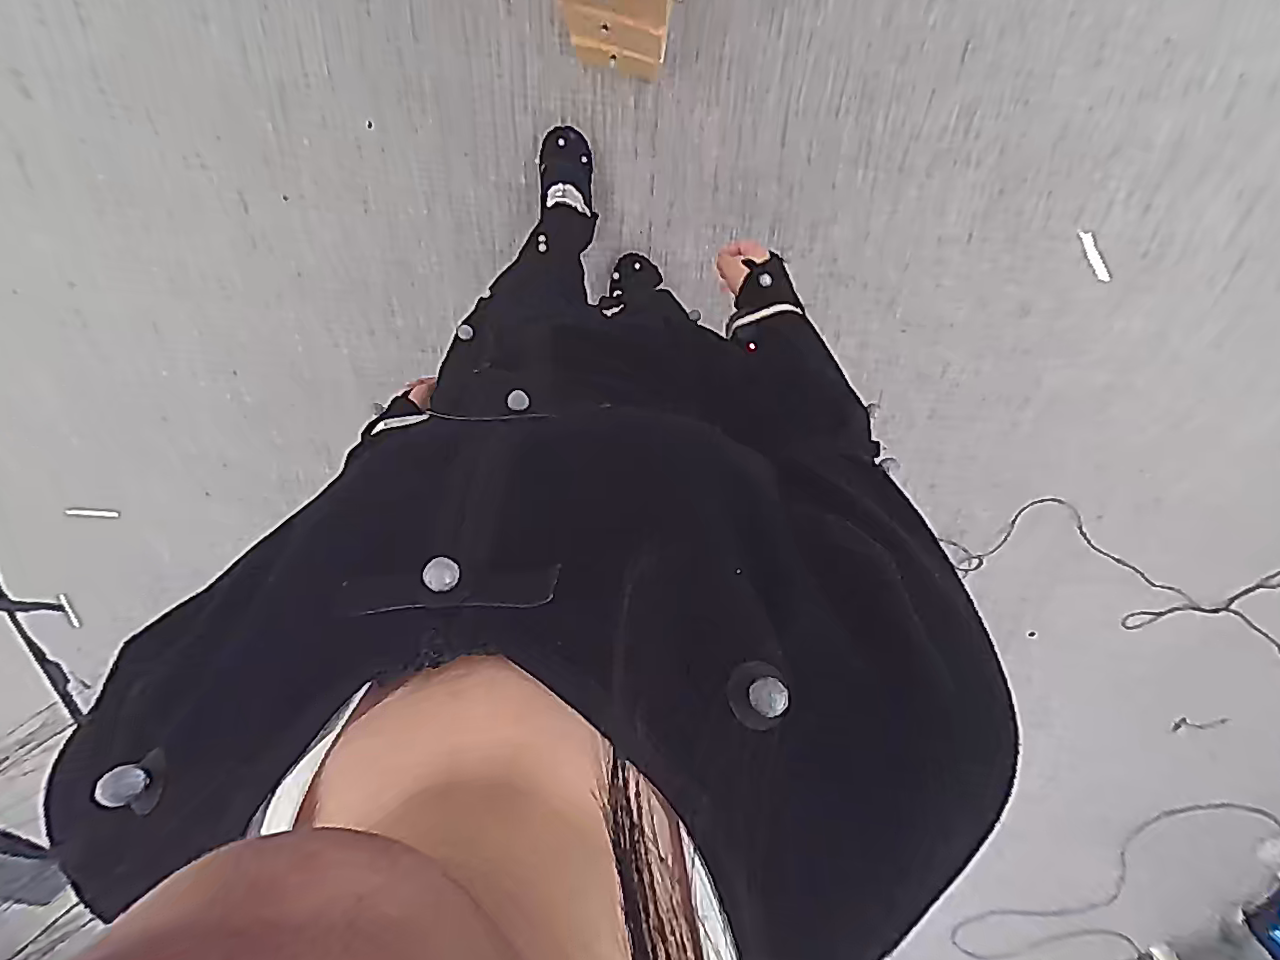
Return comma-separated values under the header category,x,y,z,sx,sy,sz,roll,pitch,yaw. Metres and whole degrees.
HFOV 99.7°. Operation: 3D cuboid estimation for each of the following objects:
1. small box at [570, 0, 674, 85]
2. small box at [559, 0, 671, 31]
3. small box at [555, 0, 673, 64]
category,x,y,z,sx,sy,sz,roll,pitch,yaw
small box,-0.031,-0.894,1.051,0.179,0.176,0.168,10,116,-5
small box,-0.031,-0.762,0.753,0.179,0.176,0.168,10,117,-5
small box,-0.031,-0.828,0.901,0.179,0.176,0.168,13,117,-6
